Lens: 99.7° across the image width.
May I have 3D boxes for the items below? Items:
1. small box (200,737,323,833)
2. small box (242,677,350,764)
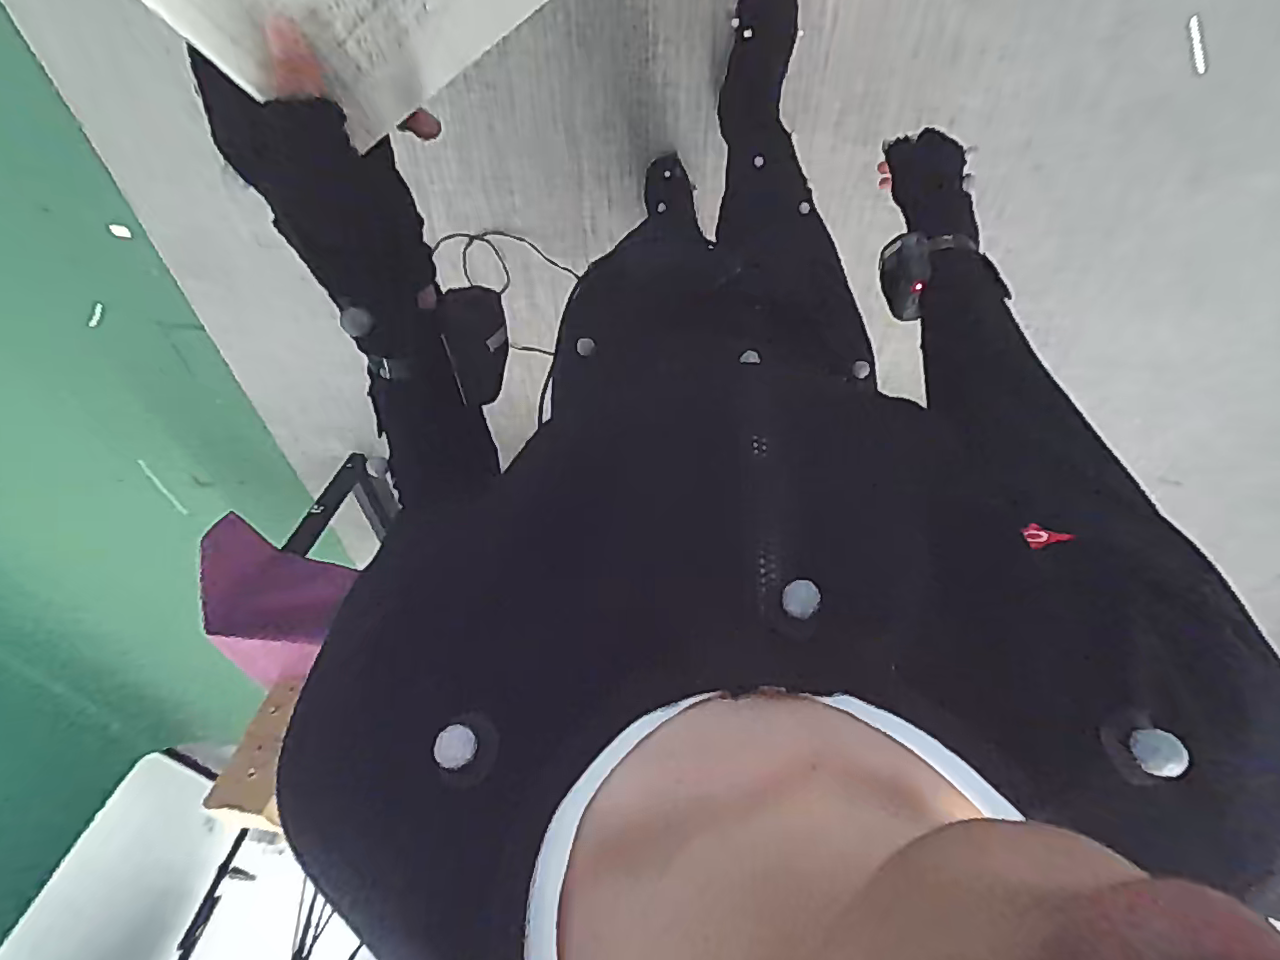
[{"bbox_3d":[-0.972,0.791,1.409,0.168,0.176,0.179,6,134,5],"label":"small box"},{"bbox_3d":[-0.960,0.677,1.527,0.168,0.176,0.179,5,135,4],"label":"small box"}]
